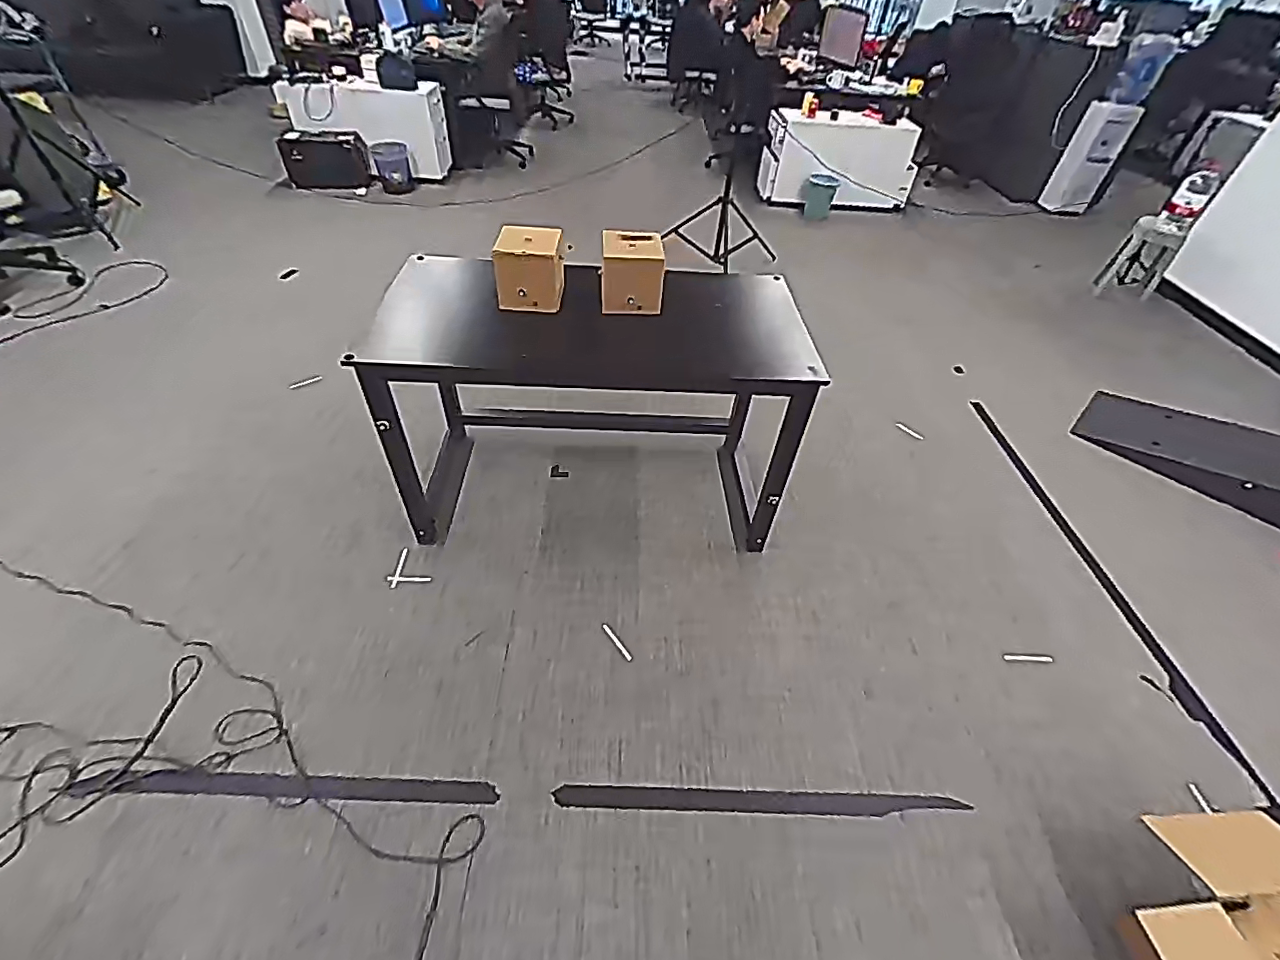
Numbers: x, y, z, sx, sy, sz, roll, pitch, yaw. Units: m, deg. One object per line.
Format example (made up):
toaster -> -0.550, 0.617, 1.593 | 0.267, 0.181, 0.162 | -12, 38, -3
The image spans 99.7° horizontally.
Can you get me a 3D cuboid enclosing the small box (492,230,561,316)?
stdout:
small box -> -0.315, -0.589, 1.538 | 0.168, 0.176, 0.179 | 2, 45, -2
